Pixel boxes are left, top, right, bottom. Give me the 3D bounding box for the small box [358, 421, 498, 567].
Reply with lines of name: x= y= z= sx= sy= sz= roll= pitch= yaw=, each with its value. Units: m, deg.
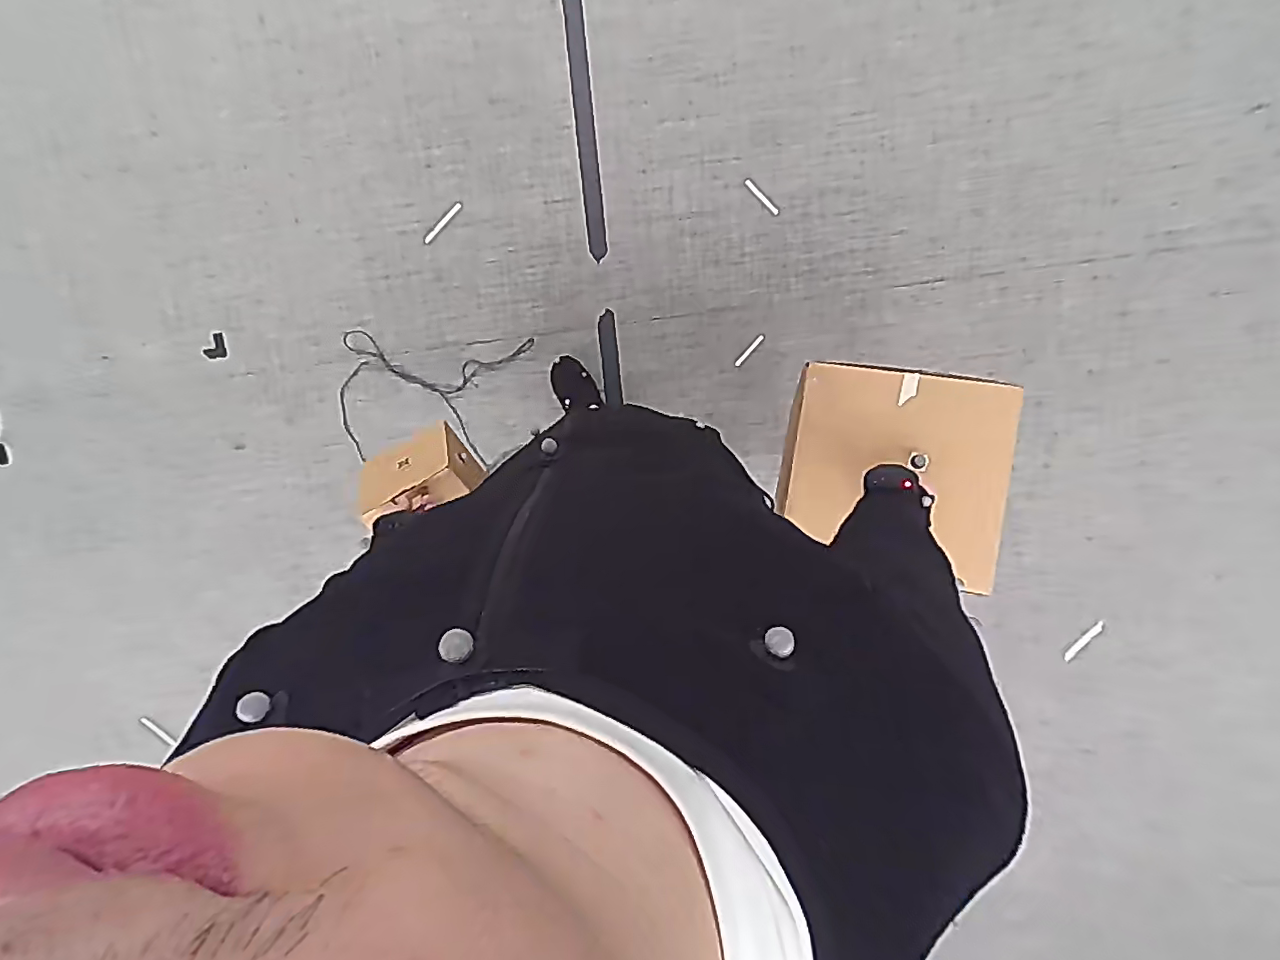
small box: x=-0.373 y=0.032 z=0.970 sx=0.168 sy=0.179 sz=0.176 roll=-29 pitch=129 yaw=-3
